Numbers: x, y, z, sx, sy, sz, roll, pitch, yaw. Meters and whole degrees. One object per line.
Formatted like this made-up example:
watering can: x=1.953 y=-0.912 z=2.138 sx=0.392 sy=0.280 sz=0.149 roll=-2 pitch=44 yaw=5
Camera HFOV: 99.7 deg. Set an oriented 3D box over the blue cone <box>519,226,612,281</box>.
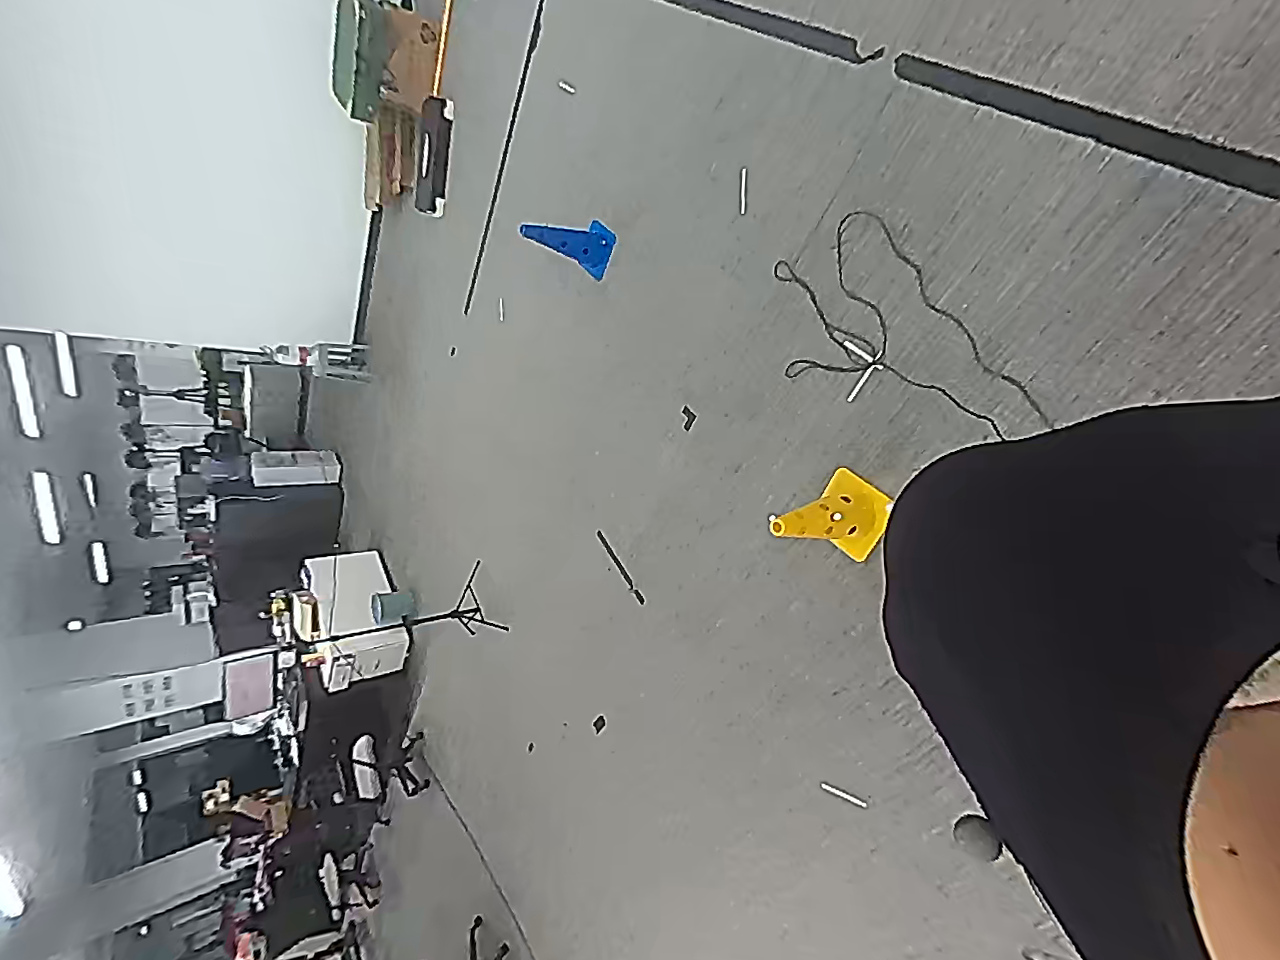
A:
blue cone: x=-0.311 y=-0.957 z=2.197 sx=0.193 sy=0.380 sz=0.192 roll=52 pitch=130 yaw=33
